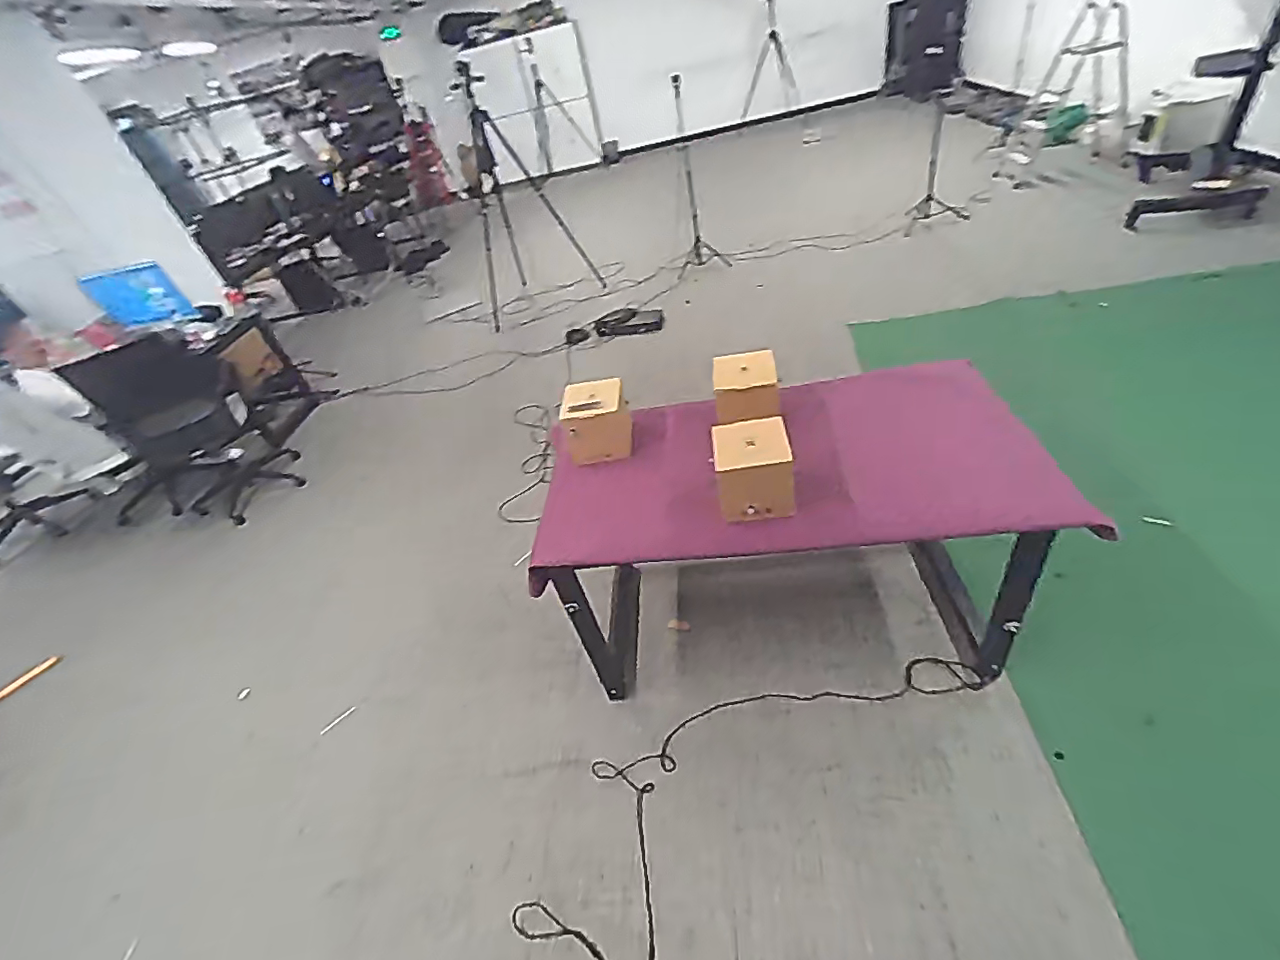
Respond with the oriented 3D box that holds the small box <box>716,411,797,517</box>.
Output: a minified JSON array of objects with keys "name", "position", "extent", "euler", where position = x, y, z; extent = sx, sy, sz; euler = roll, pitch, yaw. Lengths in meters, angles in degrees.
[{"name":"small box","position":[0.272,-0.037,1.274],"extent":[0.168,0.176,0.179],"euler":[-8,40,12]}]

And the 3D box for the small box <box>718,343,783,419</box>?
[{"name":"small box","position":[0.308,-0.257,1.513],"extent":[0.168,0.176,0.179],"euler":[-6,43,13]}]
